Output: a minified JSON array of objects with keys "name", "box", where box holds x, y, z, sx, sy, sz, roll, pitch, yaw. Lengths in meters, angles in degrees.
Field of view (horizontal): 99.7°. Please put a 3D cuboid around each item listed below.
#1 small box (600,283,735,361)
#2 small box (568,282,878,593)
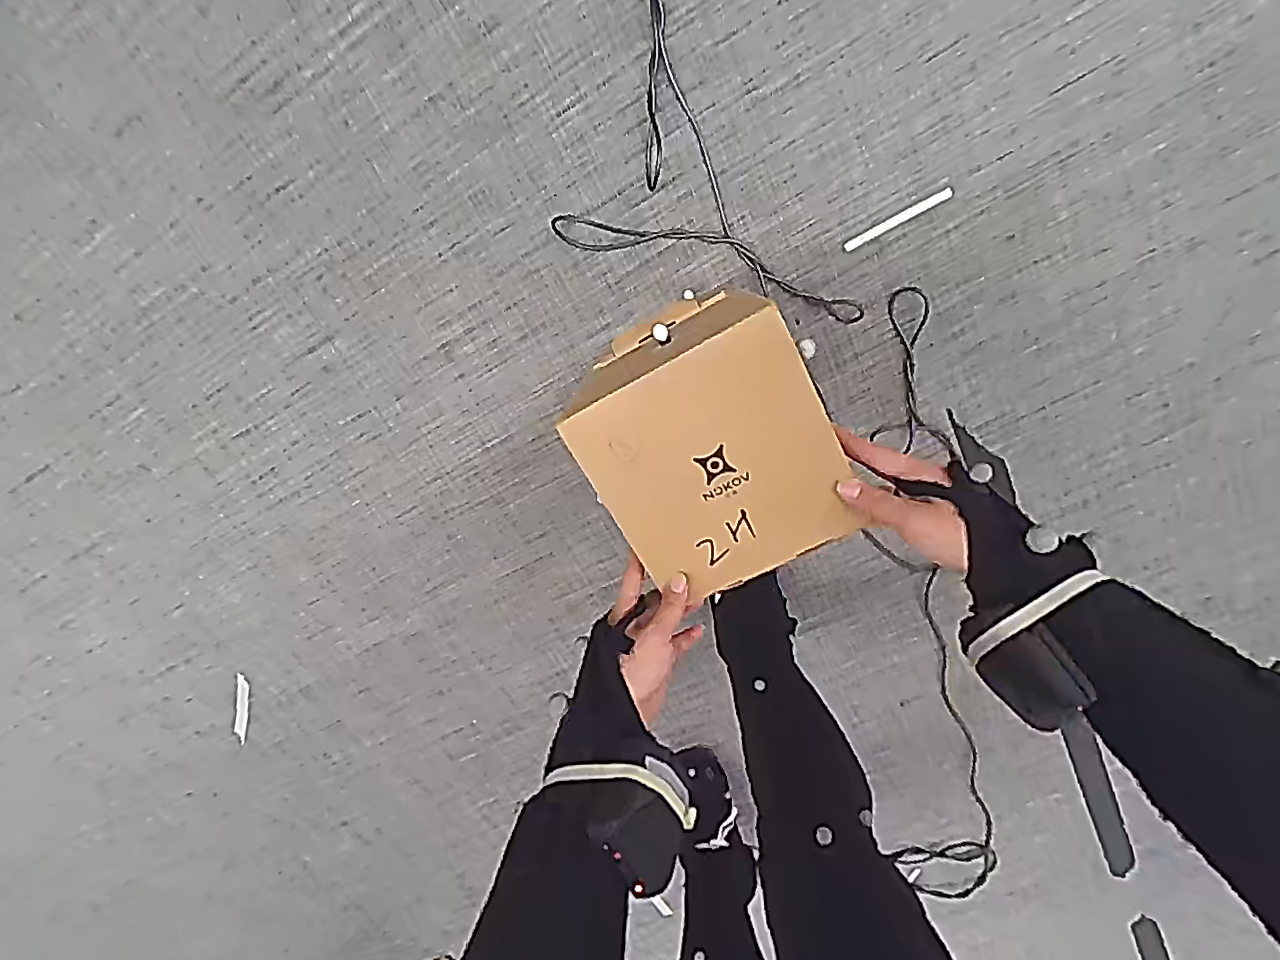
[{"name":"small box","box":[0.067,-0.124,0.671,0.168,0.176,0.179,-27,107,11]},{"name":"small box","box":[0.062,-0.046,0.451,0.168,0.176,0.179,-27,109,12]}]
